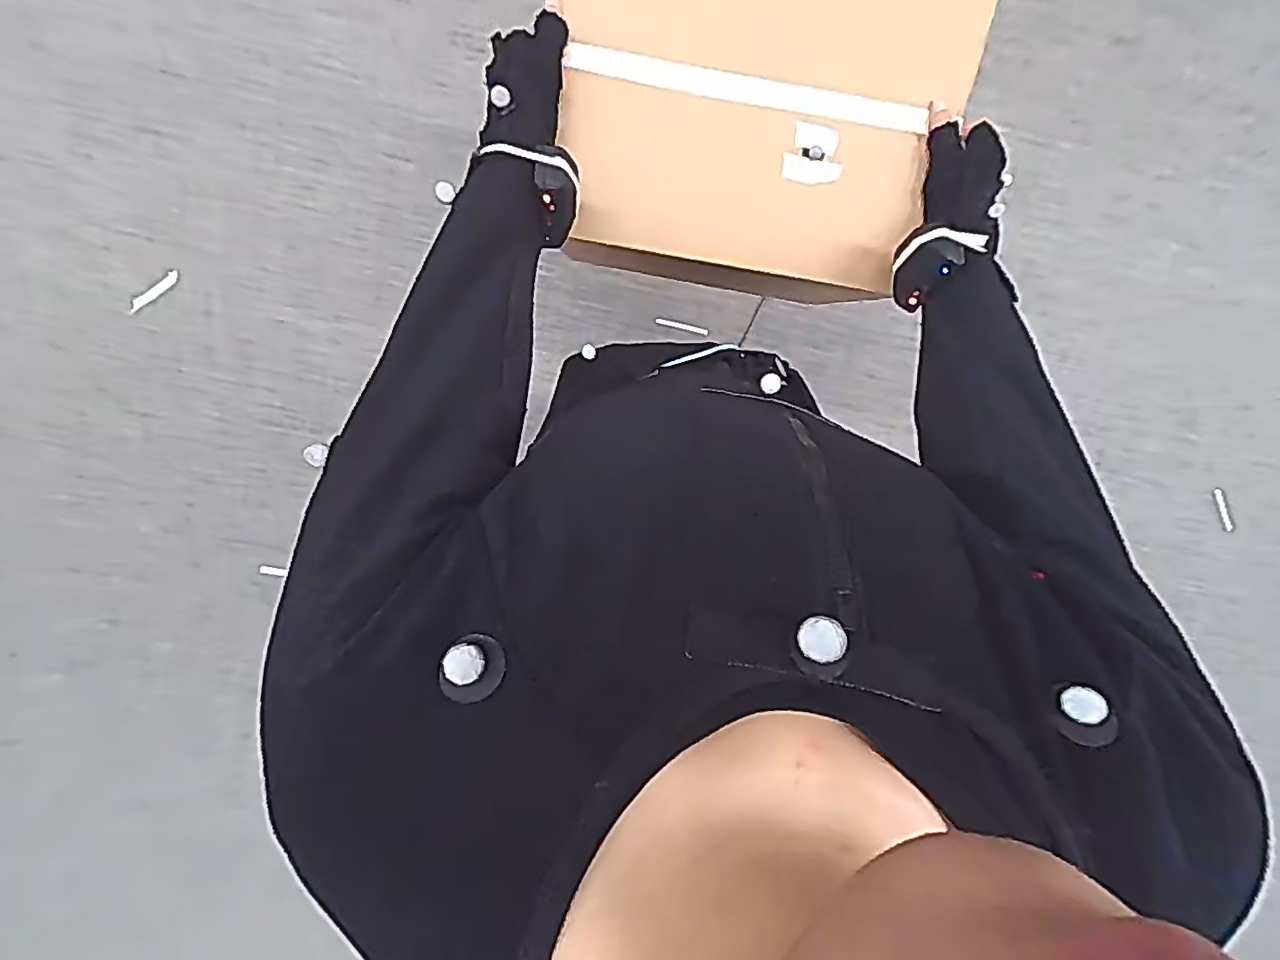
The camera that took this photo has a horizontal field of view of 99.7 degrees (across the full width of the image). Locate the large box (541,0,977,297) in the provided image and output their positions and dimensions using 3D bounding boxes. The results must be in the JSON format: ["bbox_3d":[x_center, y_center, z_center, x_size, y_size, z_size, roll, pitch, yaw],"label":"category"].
[{"bbox_3d":[0.107,-0.423,0.680,0.408,0.320,0.320,8,108,-4],"label":"large box"}]
